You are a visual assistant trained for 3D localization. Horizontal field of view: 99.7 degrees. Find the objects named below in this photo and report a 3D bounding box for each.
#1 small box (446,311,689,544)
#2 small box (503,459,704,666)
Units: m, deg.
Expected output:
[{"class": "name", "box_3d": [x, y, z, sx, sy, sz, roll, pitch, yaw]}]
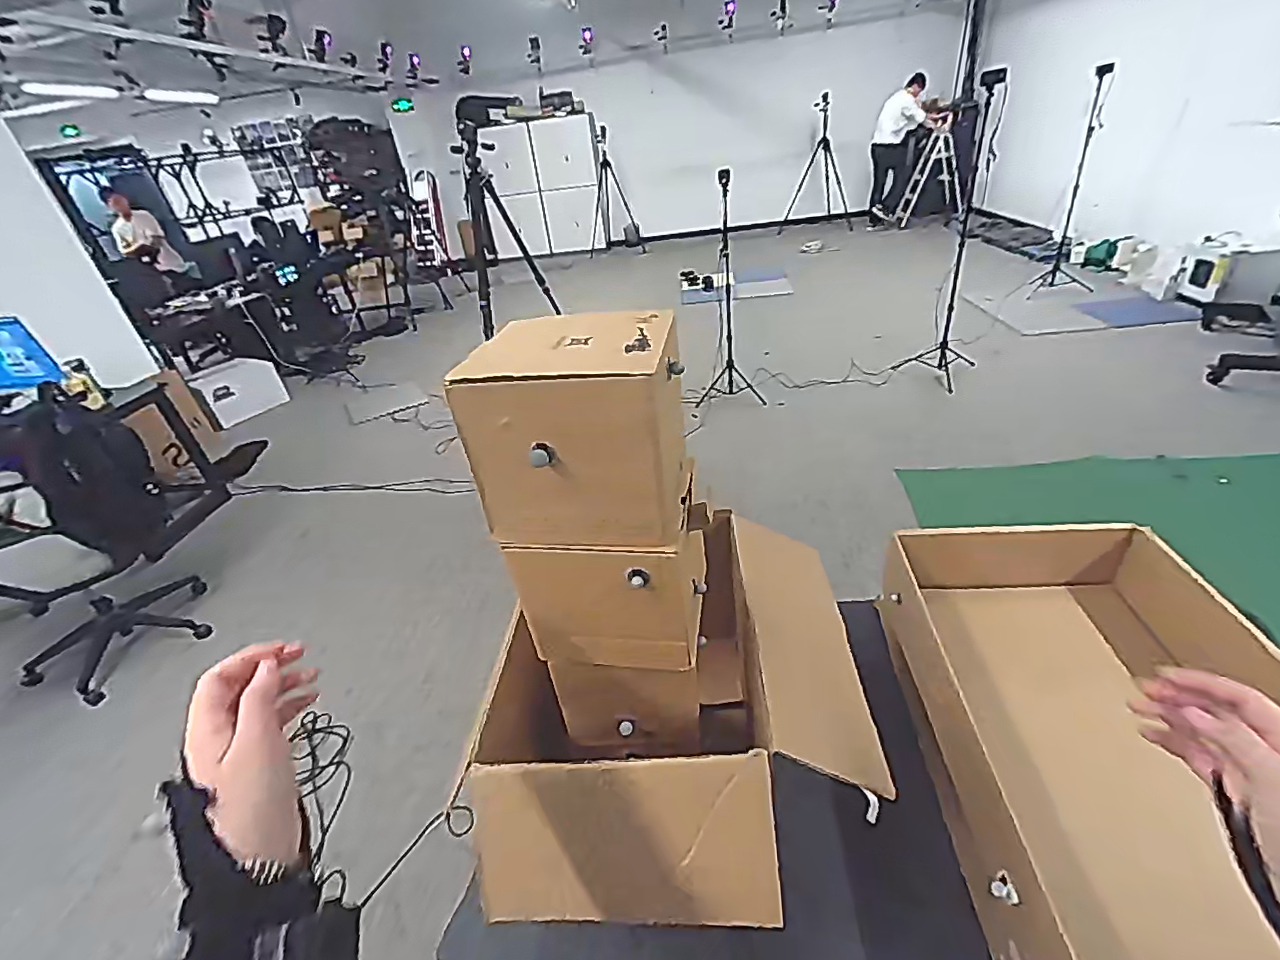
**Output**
[{"class": "small box", "box_3d": [-0.051, -0.051, 0.524, 0.179, 0.176, 0.168, -1, 34, 11]}, {"class": "small box", "box_3d": [-0.026, 0.088, 0.609, 0.179, 0.176, 0.168, 1, 34, 12]}]
